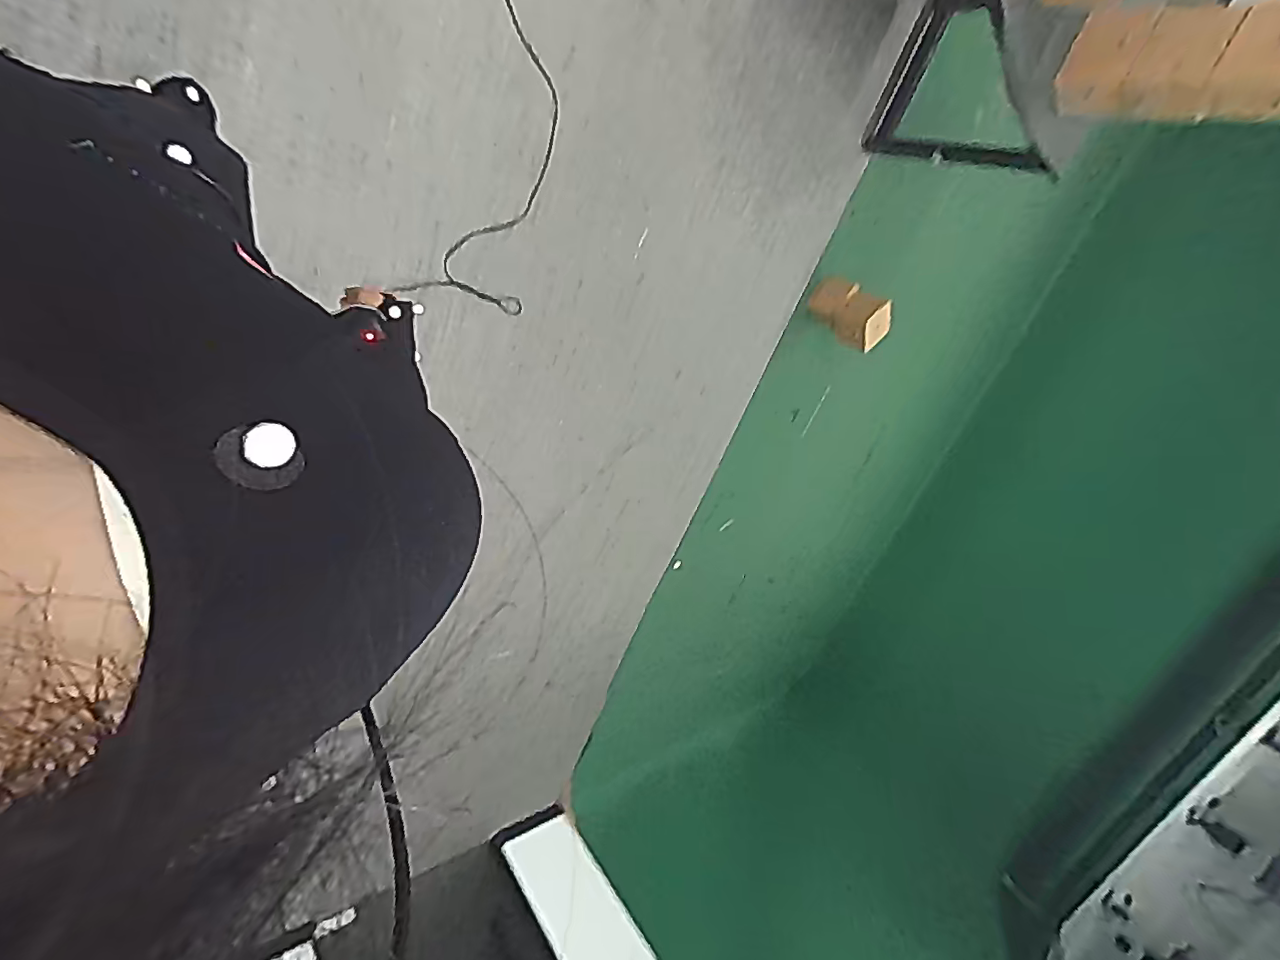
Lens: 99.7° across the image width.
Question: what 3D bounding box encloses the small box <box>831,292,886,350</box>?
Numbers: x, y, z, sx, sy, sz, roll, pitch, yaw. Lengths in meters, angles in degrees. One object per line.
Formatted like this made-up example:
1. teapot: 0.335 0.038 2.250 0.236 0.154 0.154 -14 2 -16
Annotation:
1. small box: 0.973 -0.719 2.421 0.168 0.176 0.179 -41 141 -12

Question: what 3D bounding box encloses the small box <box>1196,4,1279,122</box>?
1. small box: 1.461 -0.972 1.262 0.168 0.176 0.179 1 116 -45

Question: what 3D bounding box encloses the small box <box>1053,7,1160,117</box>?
1. small box: 1.257 -1.126 1.468 0.168 0.176 0.179 5 114 -47

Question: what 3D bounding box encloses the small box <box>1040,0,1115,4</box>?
1. small box: 0.956 -1.154 1.140 0.179 0.176 0.168 7 113 -47

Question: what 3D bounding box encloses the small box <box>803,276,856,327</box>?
1. small box: 0.889 -0.825 2.516 0.168 0.176 0.179 -55 142 4
